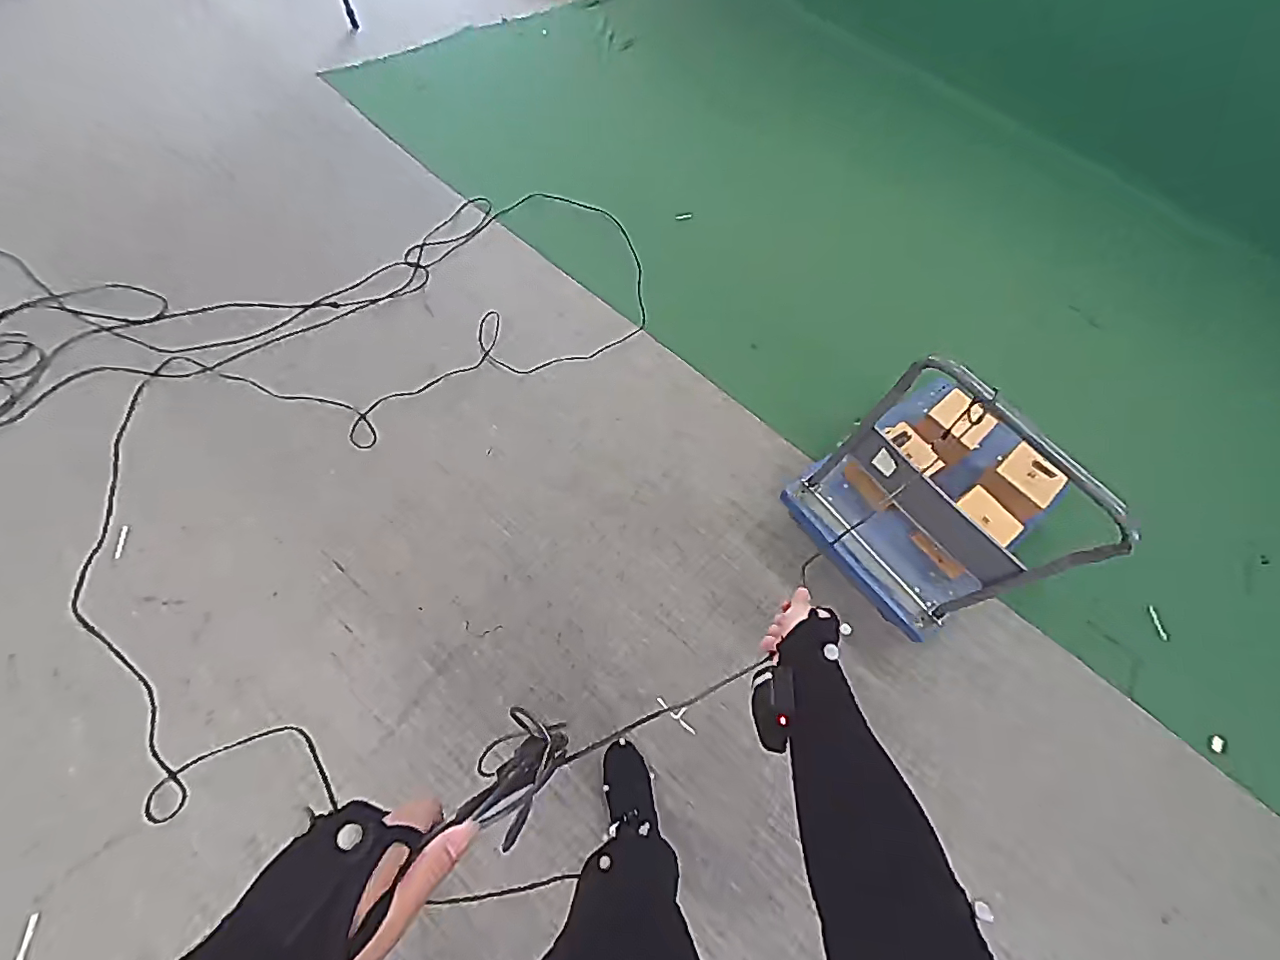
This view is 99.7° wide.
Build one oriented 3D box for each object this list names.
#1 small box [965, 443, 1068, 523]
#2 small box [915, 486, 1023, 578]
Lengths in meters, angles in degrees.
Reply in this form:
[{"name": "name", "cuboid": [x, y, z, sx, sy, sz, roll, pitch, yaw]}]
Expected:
[{"name": "small box", "cuboid": [1.156, 0.022, 1.674, 0.179, 0.176, 0.168, -36, 72, -24]}, {"name": "small box", "cuboid": [0.945, 0.154, 1.567, 0.179, 0.176, 0.168, -31, 70, -23]}]
